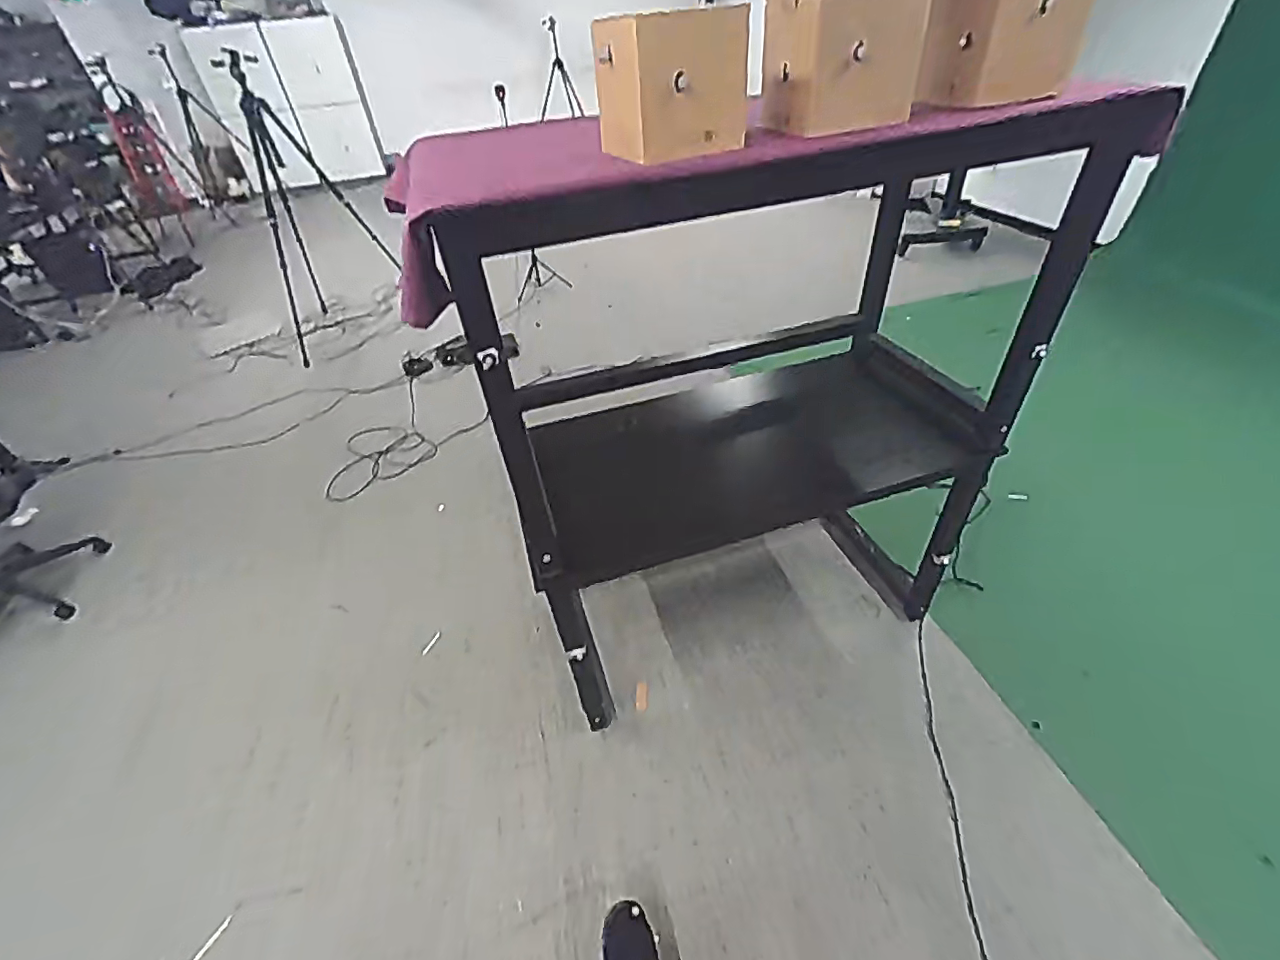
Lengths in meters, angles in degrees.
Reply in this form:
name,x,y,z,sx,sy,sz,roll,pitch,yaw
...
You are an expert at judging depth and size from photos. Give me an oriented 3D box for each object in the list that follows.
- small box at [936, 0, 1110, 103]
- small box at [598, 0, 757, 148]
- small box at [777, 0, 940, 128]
name,x,y,z,sx,sy,sz,roll,pitch,yaw
small box,0.607,-0.718,0.866,0.179,0.176,0.168,-11,42,-7
small box,0.053,-0.580,0.761,0.168,0.176,0.179,-17,42,-14
small box,0.314,-0.640,0.804,0.179,0.176,0.168,-13,42,-8
